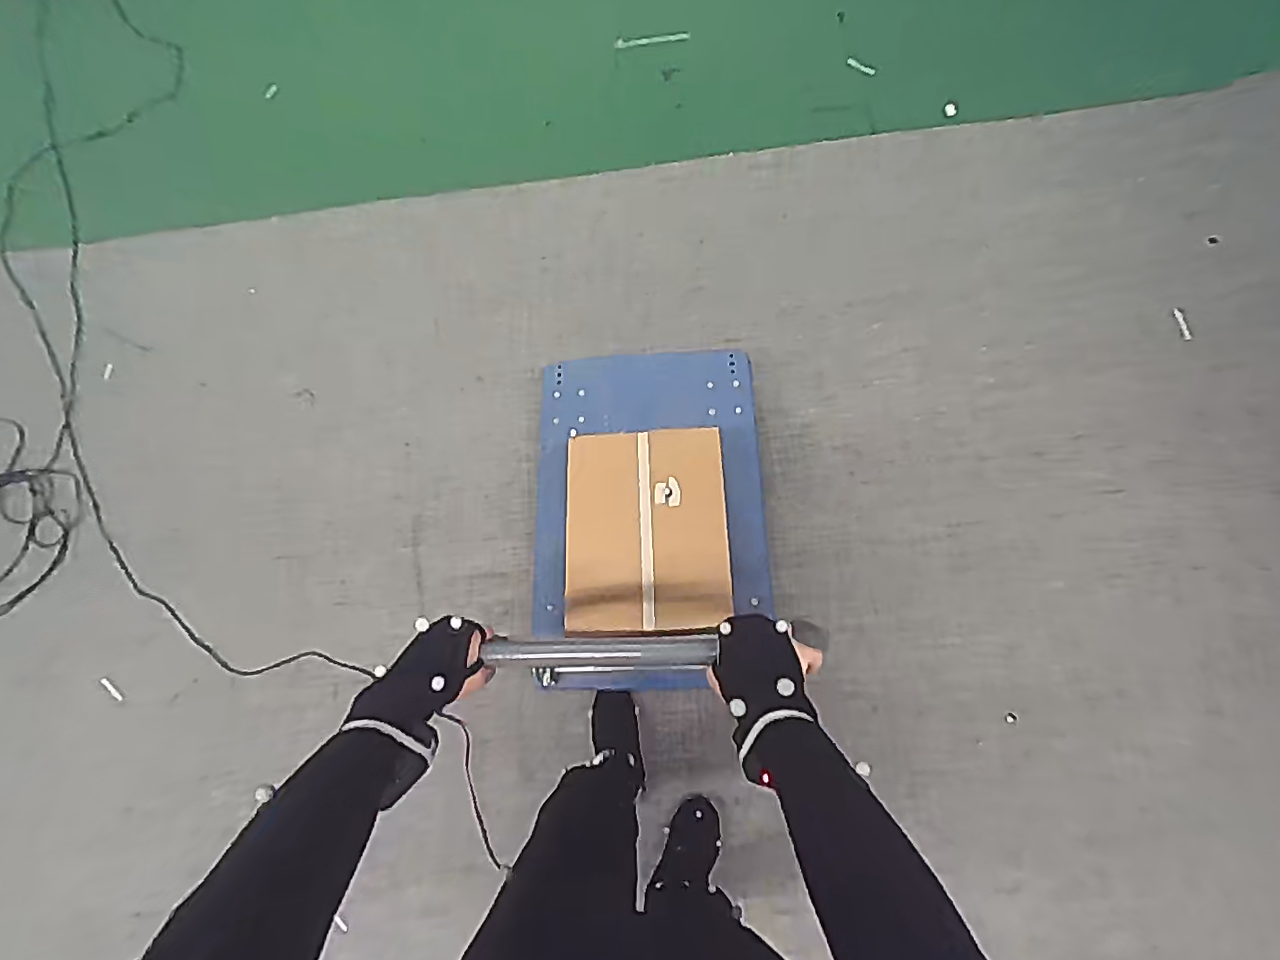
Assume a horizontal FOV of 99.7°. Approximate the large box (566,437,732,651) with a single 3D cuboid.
[{"bbox_3d":[0.024,0.157,1.199,0.320,0.320,0.408,-3,70,4],"label":"large box"}]
